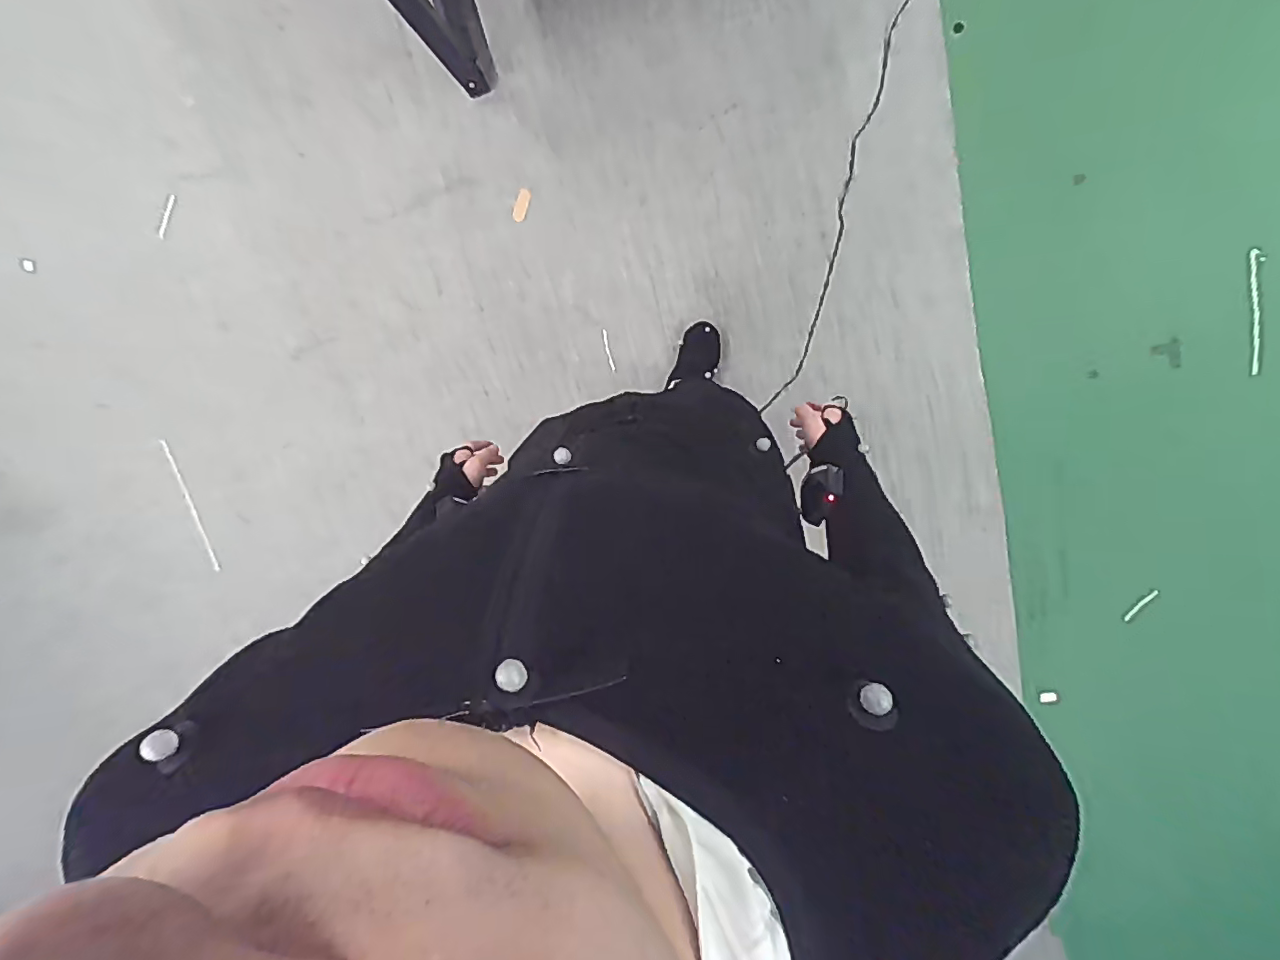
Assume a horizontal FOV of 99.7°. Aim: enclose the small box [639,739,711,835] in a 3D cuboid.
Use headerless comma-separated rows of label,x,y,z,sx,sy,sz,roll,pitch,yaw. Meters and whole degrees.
small box,0.105,0.881,1.564,0.179,0.176,0.168,-12,100,7
